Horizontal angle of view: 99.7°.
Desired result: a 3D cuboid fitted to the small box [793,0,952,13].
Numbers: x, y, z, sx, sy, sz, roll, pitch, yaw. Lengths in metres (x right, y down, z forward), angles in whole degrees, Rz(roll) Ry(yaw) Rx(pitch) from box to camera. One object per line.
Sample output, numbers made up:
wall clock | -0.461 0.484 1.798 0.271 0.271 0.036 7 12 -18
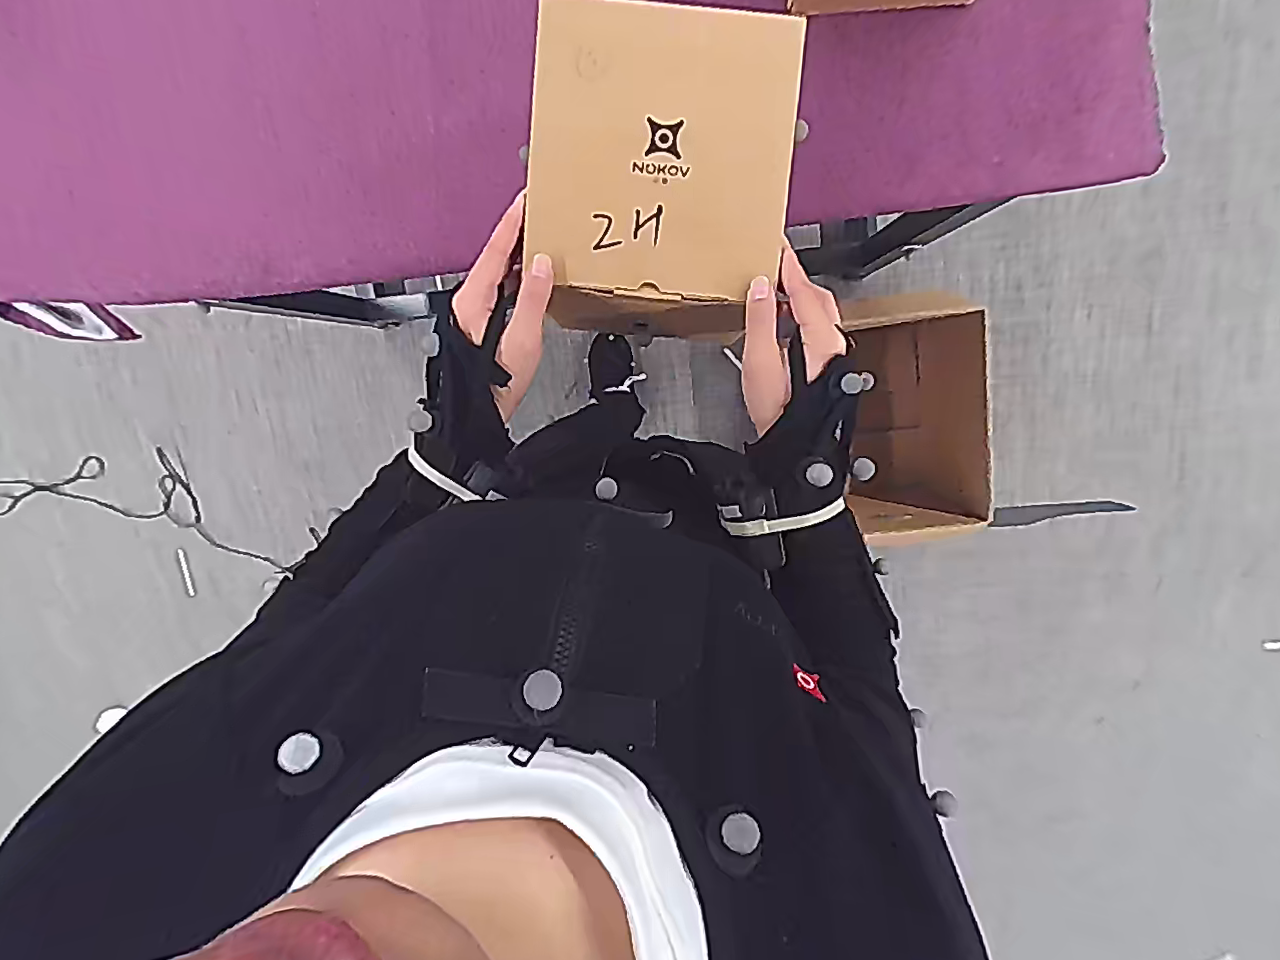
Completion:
small box | 0.228 -0.520 0.431 0.179 0.176 0.168 0 100 5

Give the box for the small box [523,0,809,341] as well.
small box | 0.014 -0.216 0.416 0.168 0.176 0.179 6 95 -1
